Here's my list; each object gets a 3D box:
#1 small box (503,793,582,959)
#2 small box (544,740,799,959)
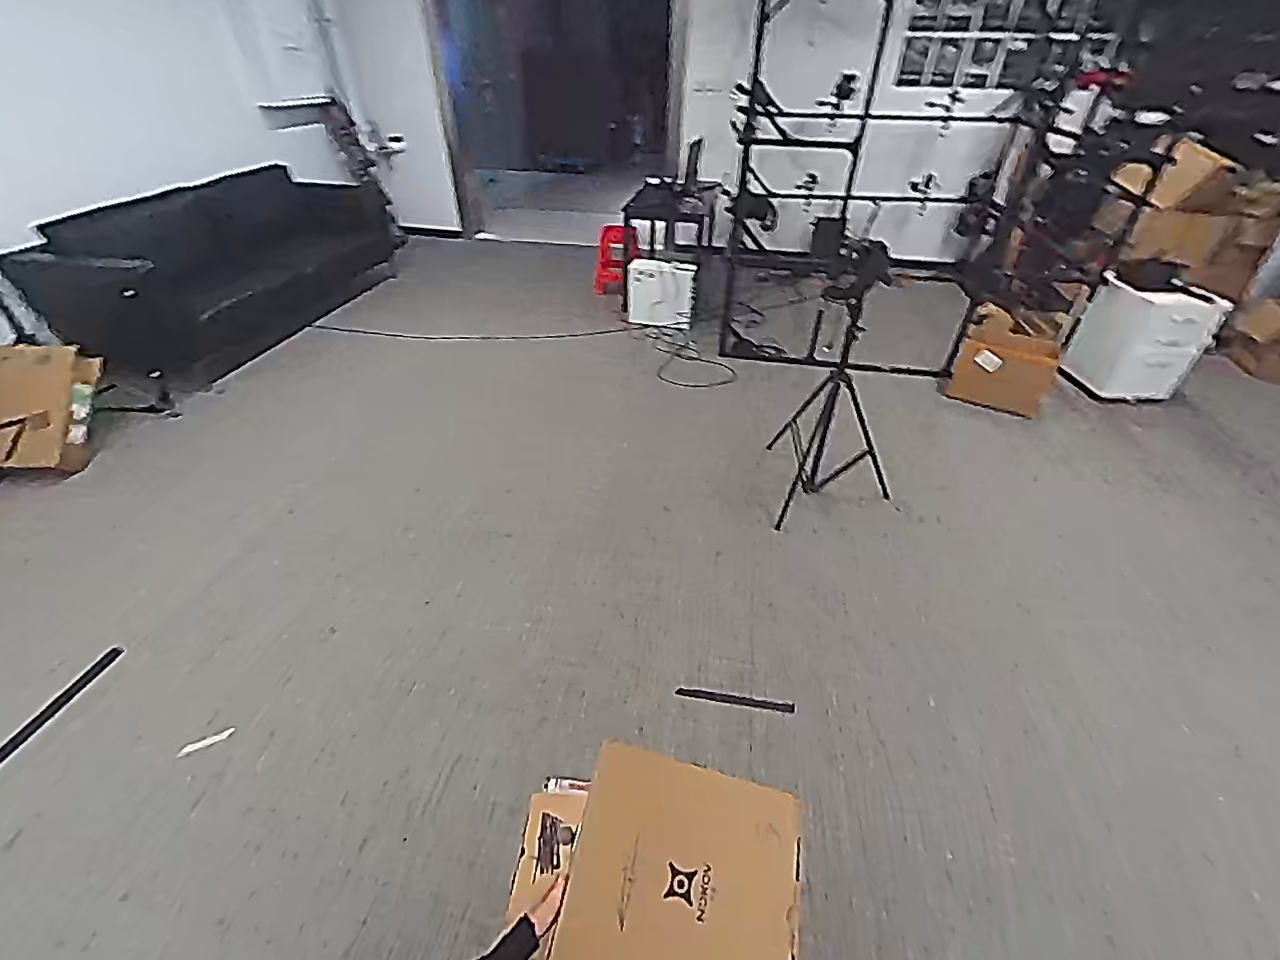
[{"bbox_3d":[-0.088,0.601,0.814,0.179,0.176,0.168,2,36,3],"label":"small box"},{"bbox_3d":[0.023,0.349,0.472,0.179,0.176,0.168,13,52,2],"label":"small box"}]
